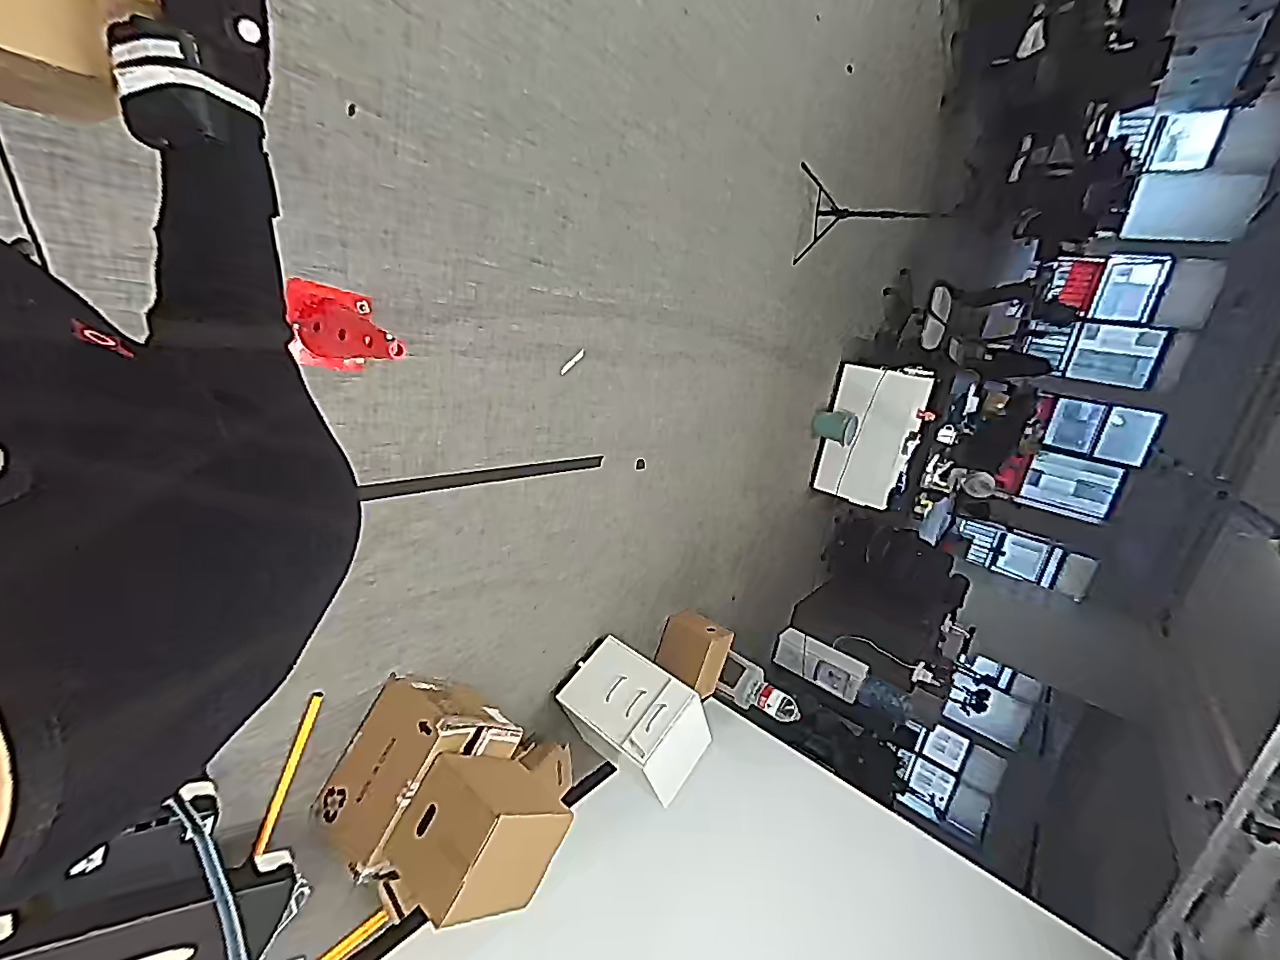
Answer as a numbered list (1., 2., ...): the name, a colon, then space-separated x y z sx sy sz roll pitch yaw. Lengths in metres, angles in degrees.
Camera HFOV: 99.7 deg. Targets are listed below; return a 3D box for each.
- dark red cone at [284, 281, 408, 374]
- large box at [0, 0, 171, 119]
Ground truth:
1. dark red cone: -0.643 -0.319 1.240 0.201 0.394 0.202 -1 108 -51
2. large box: -0.554 -0.437 0.275 0.408 0.320 0.320 -13 119 -51
